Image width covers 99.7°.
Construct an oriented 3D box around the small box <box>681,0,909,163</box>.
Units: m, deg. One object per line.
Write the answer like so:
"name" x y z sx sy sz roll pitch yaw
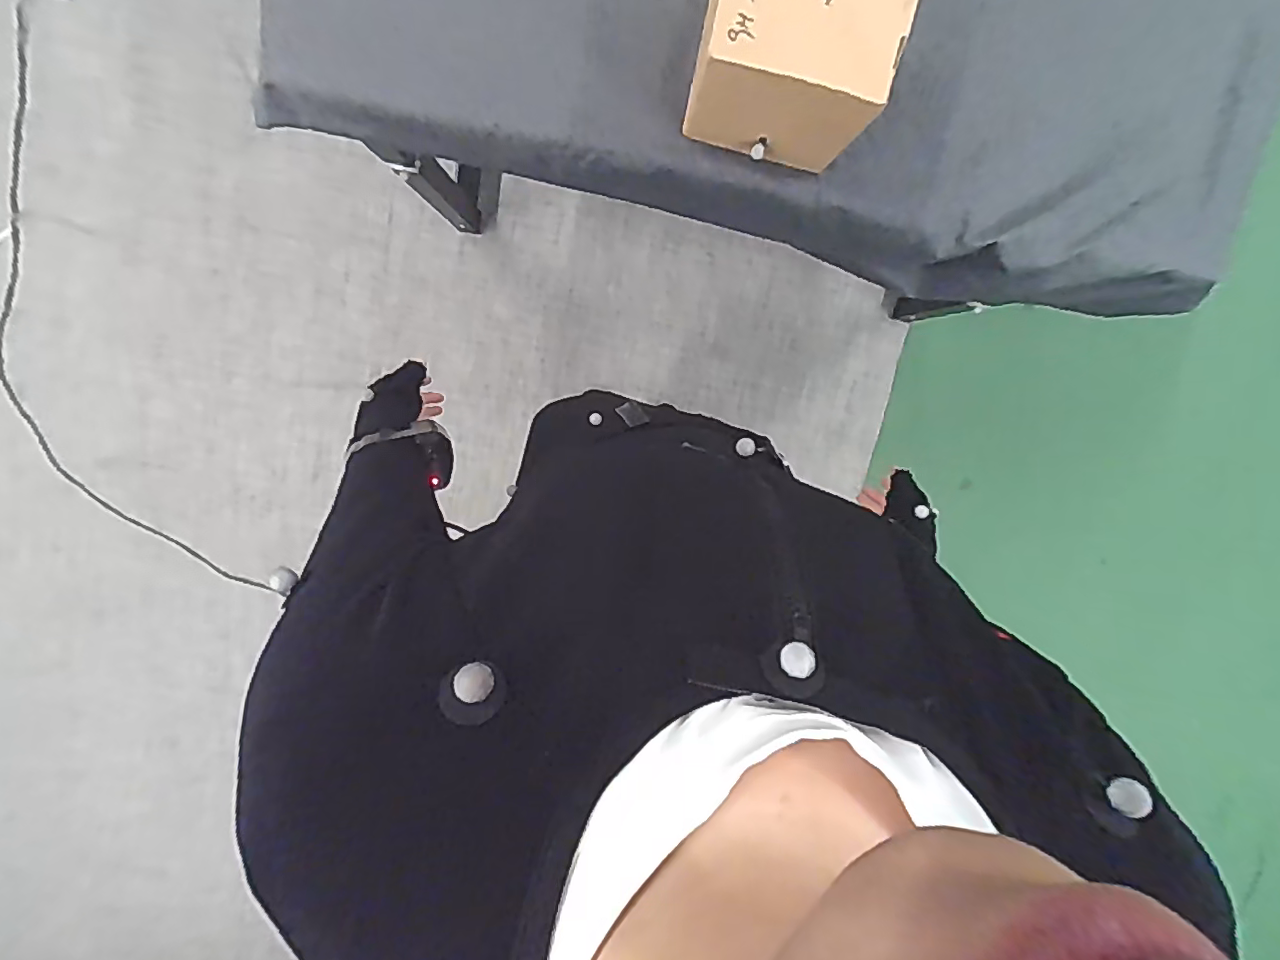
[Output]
"small box" 0.154 -0.460 0.563 0.179 0.176 0.168 12 99 -6
